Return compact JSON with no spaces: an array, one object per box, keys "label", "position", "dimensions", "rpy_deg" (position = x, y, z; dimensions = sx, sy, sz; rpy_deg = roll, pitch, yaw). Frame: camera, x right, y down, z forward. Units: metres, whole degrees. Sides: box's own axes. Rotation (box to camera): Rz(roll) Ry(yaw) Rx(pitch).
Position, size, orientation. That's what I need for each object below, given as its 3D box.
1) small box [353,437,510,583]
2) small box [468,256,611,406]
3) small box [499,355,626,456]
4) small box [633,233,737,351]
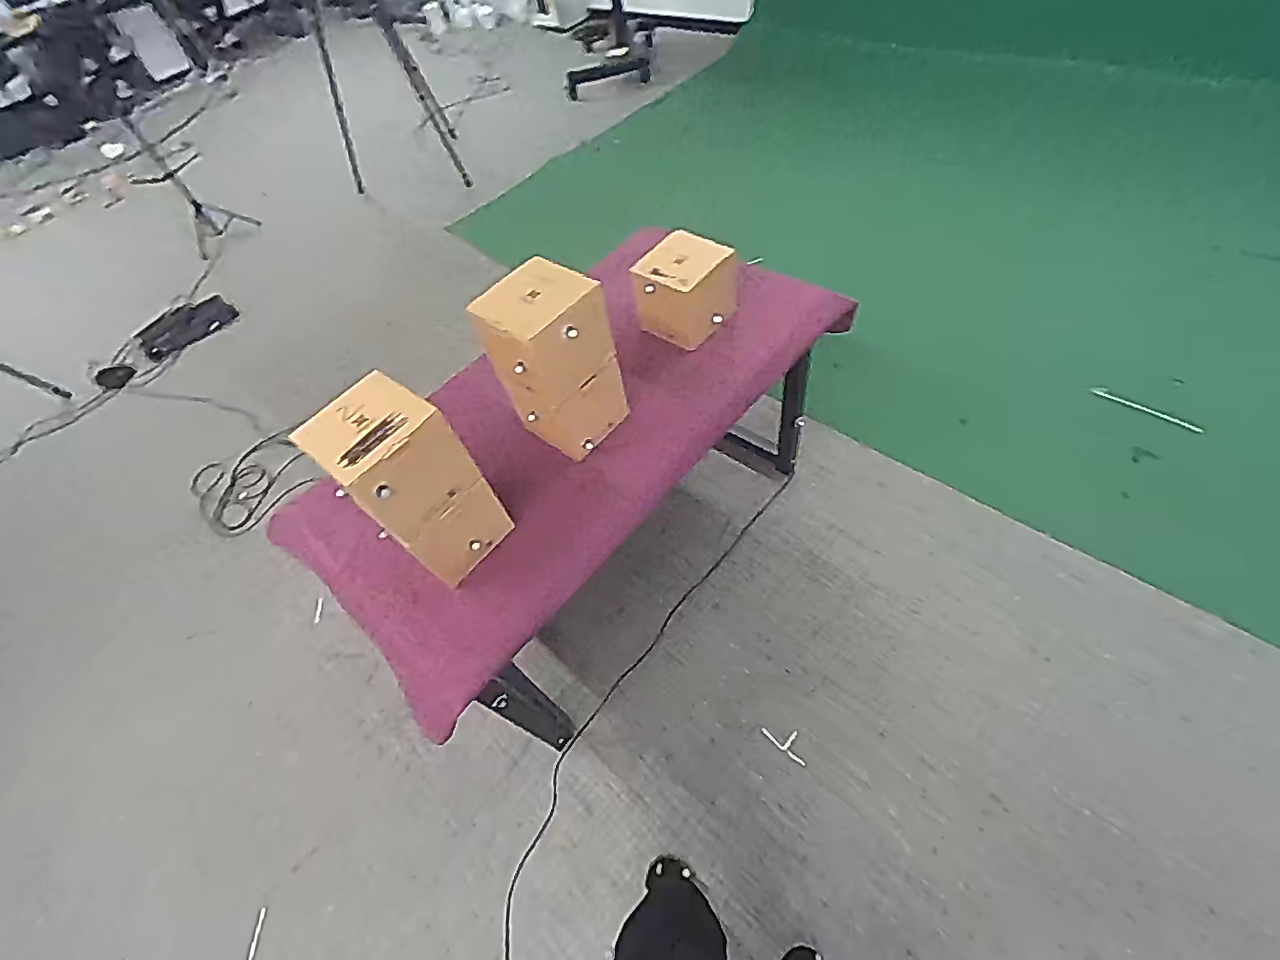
[{"label":"small box","position":[-0.372,0.059,0.987],"dimensions":[0.179,0.176,0.168],"rpy_deg":[31,65,27]},{"label":"small box","position":[-0.171,-0.267,0.983],"dimensions":[0.168,0.176,0.179],"rpy_deg":[33,65,27]},{"label":"small box","position":[-0.150,-0.175,1.116],"dimensions":[0.179,0.176,0.168],"rpy_deg":[32,65,28]},{"label":"small box","position":[0.107,-0.435,1.255],"dimensions":[0.168,0.176,0.179],"rpy_deg":[33,66,28]}]
